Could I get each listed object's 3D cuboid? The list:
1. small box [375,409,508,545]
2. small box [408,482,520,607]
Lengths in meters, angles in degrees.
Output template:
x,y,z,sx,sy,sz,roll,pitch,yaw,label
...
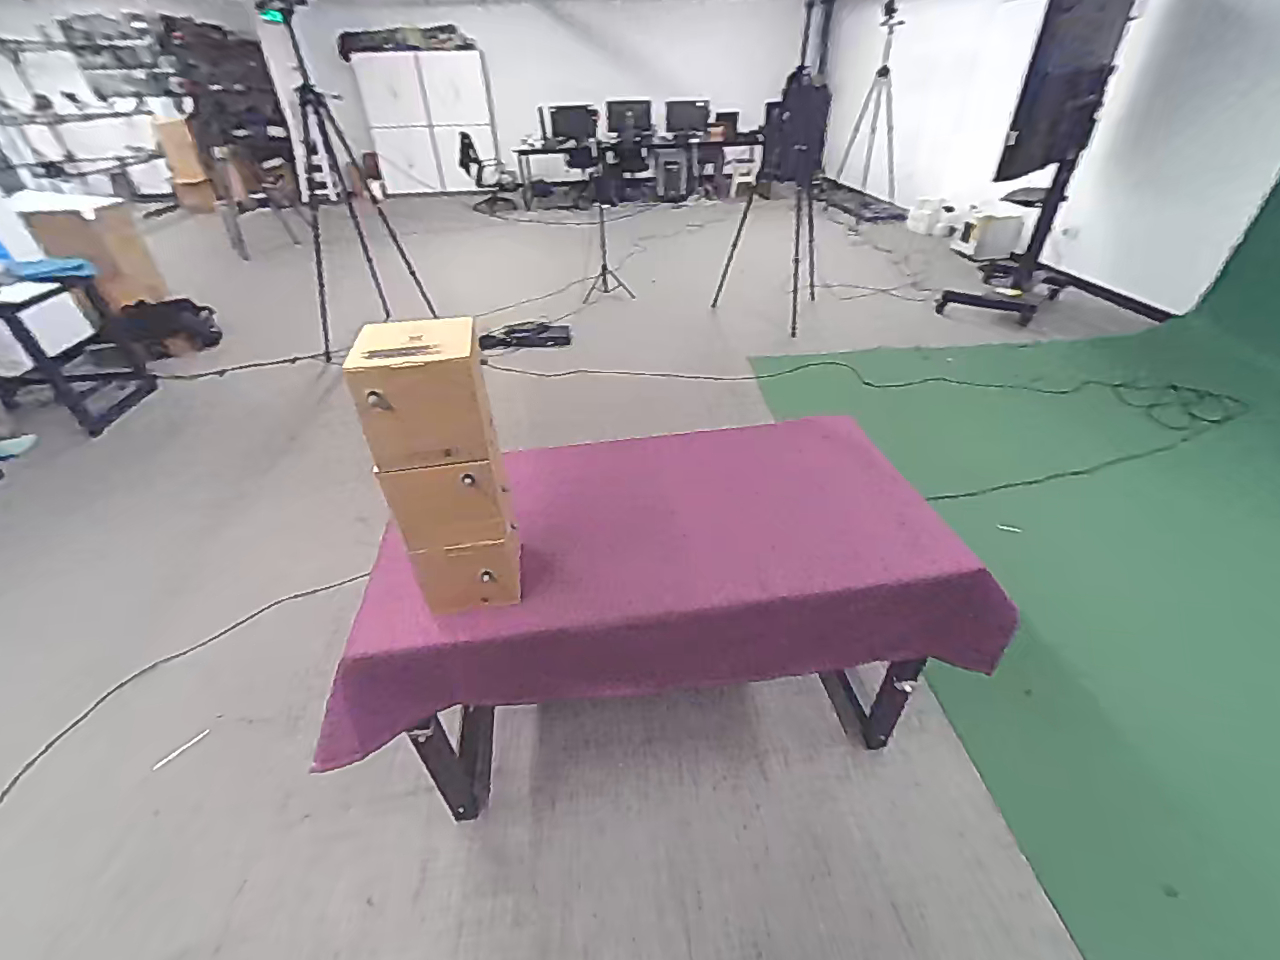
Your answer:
x,y,z,sx,sy,sz,roll,pitch,yaw,label
-0.330,-0.004,0.934,0.179,0.176,0.168,-7,37,-10,small box
-0.323,0.126,1.031,0.168,0.176,0.179,-6,36,-8,small box
